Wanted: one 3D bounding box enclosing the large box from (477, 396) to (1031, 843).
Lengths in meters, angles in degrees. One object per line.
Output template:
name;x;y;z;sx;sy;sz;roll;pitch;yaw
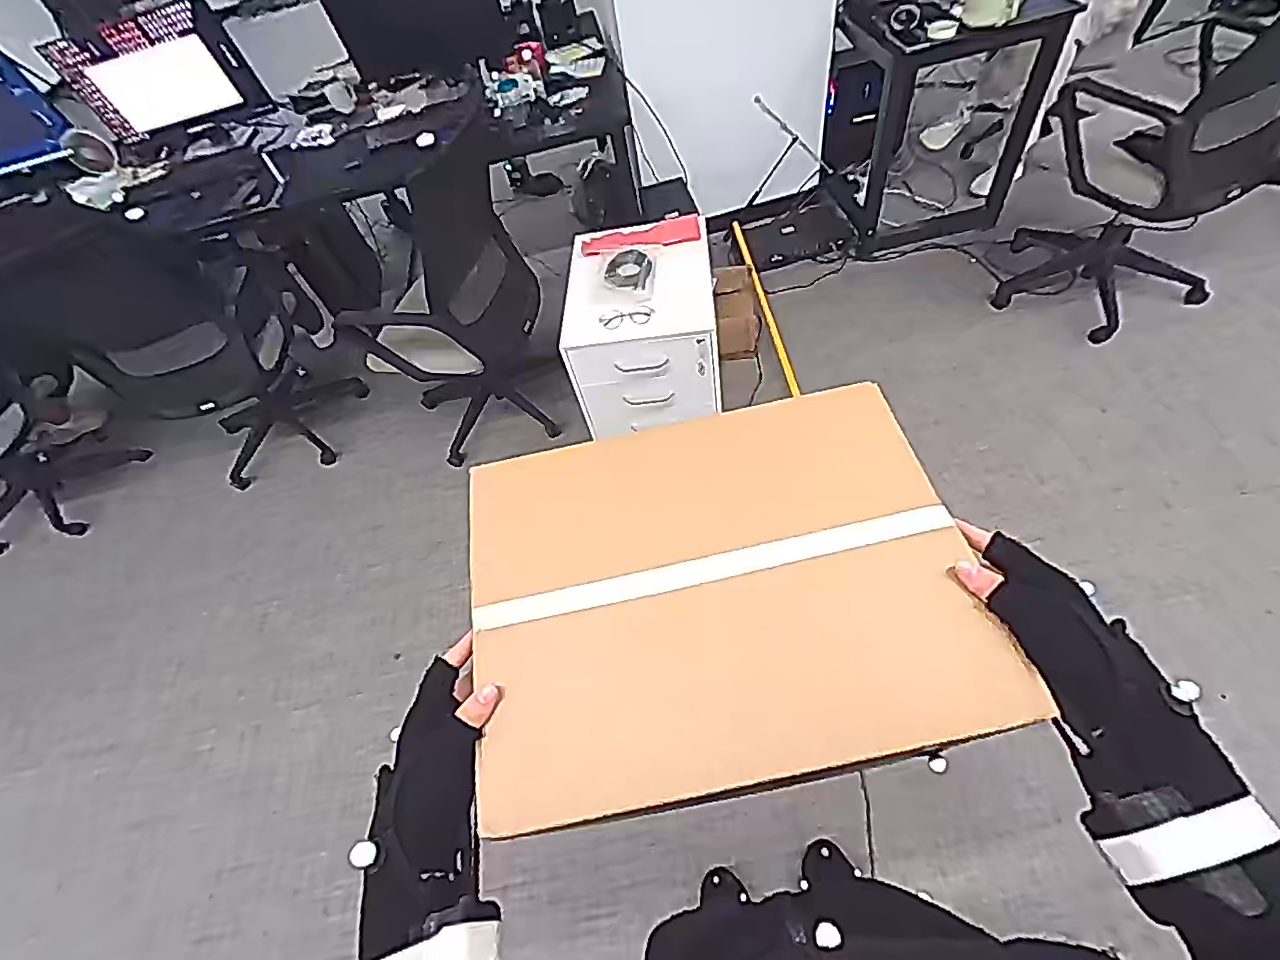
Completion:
large box;0.077;0.159;0.585;0.408;0.320;0.320;-12;57;0
